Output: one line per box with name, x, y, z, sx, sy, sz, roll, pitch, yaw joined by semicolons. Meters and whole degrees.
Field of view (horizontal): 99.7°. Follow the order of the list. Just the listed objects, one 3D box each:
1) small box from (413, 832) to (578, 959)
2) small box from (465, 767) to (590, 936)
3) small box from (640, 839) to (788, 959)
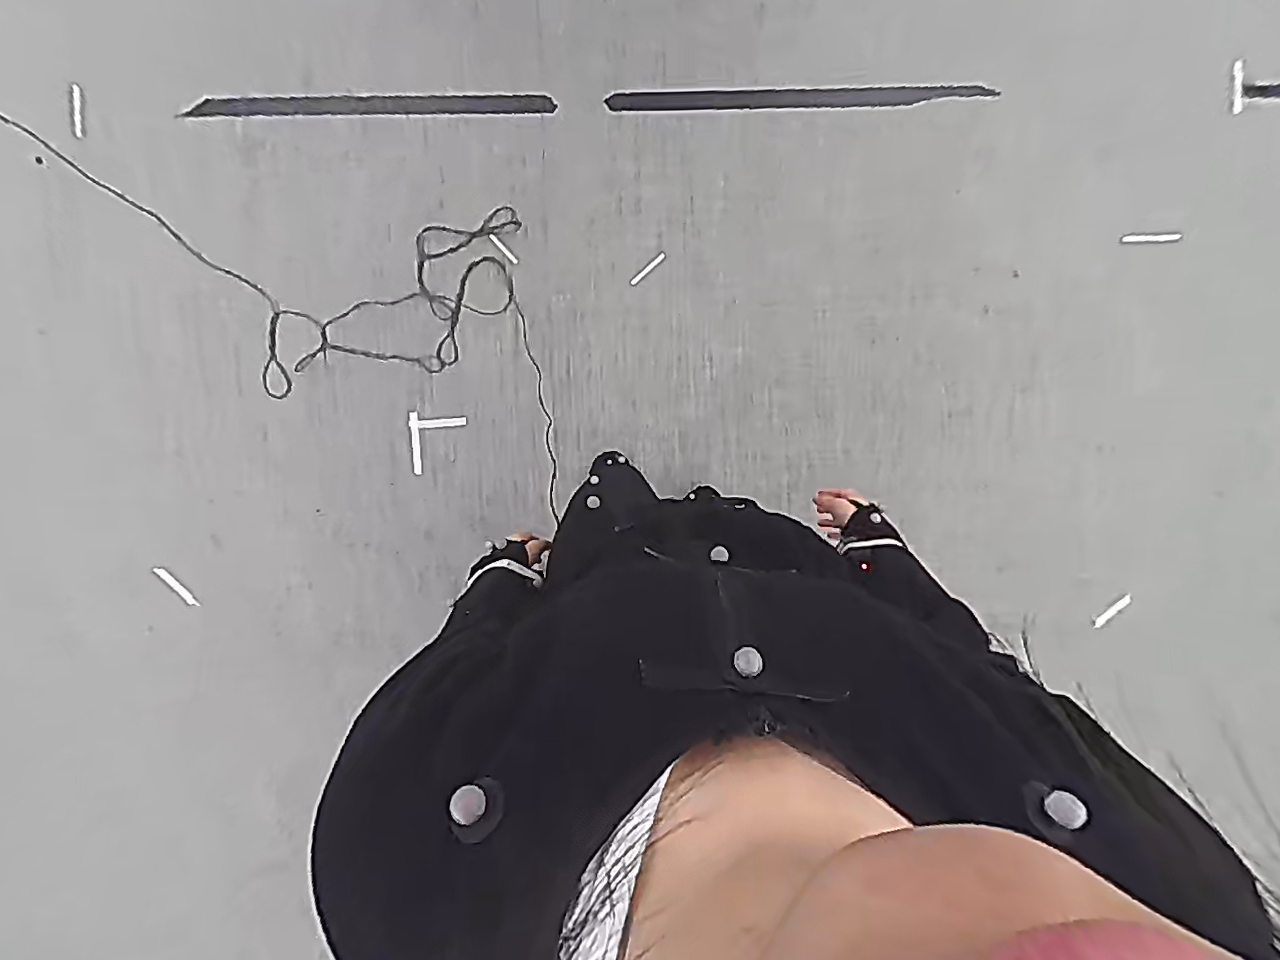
small box;-0.171;0.588;0.682;0.168;0.176;0.179;1;92;1
small box;-0.170;0.578;0.848;0.168;0.176;0.179;2;92;0
small box;0.084;0.584;0.677;0.168;0.176;0.179;-2;92;1
